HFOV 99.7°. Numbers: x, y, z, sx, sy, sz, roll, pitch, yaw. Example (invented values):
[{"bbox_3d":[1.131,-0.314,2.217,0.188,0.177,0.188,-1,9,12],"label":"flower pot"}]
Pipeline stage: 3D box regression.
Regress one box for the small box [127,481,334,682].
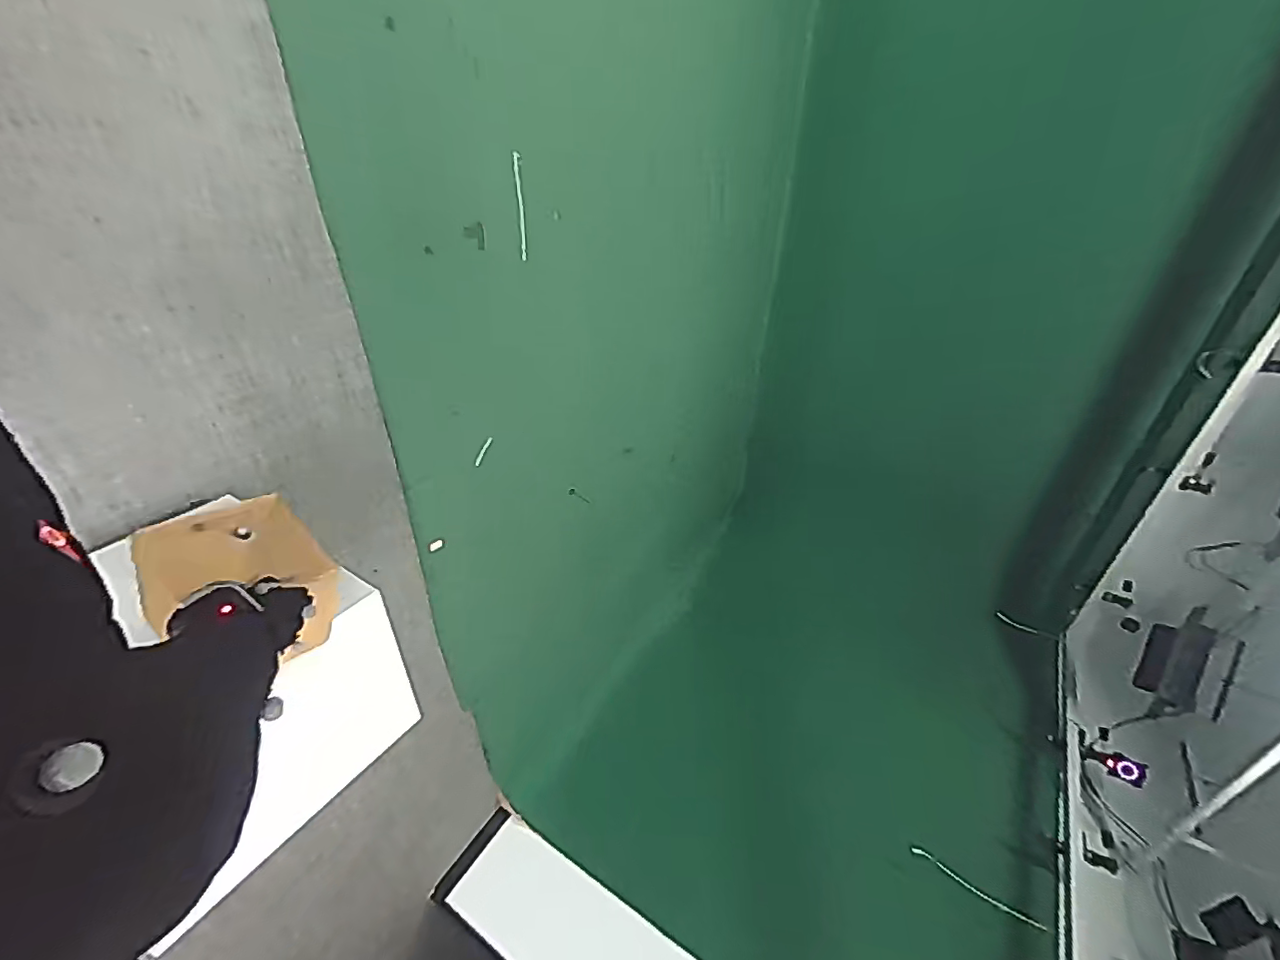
[{"bbox_3d":[-0.554,0.131,0.736,0.168,0.176,0.179,-27,159,-51],"label":"small box"}]
